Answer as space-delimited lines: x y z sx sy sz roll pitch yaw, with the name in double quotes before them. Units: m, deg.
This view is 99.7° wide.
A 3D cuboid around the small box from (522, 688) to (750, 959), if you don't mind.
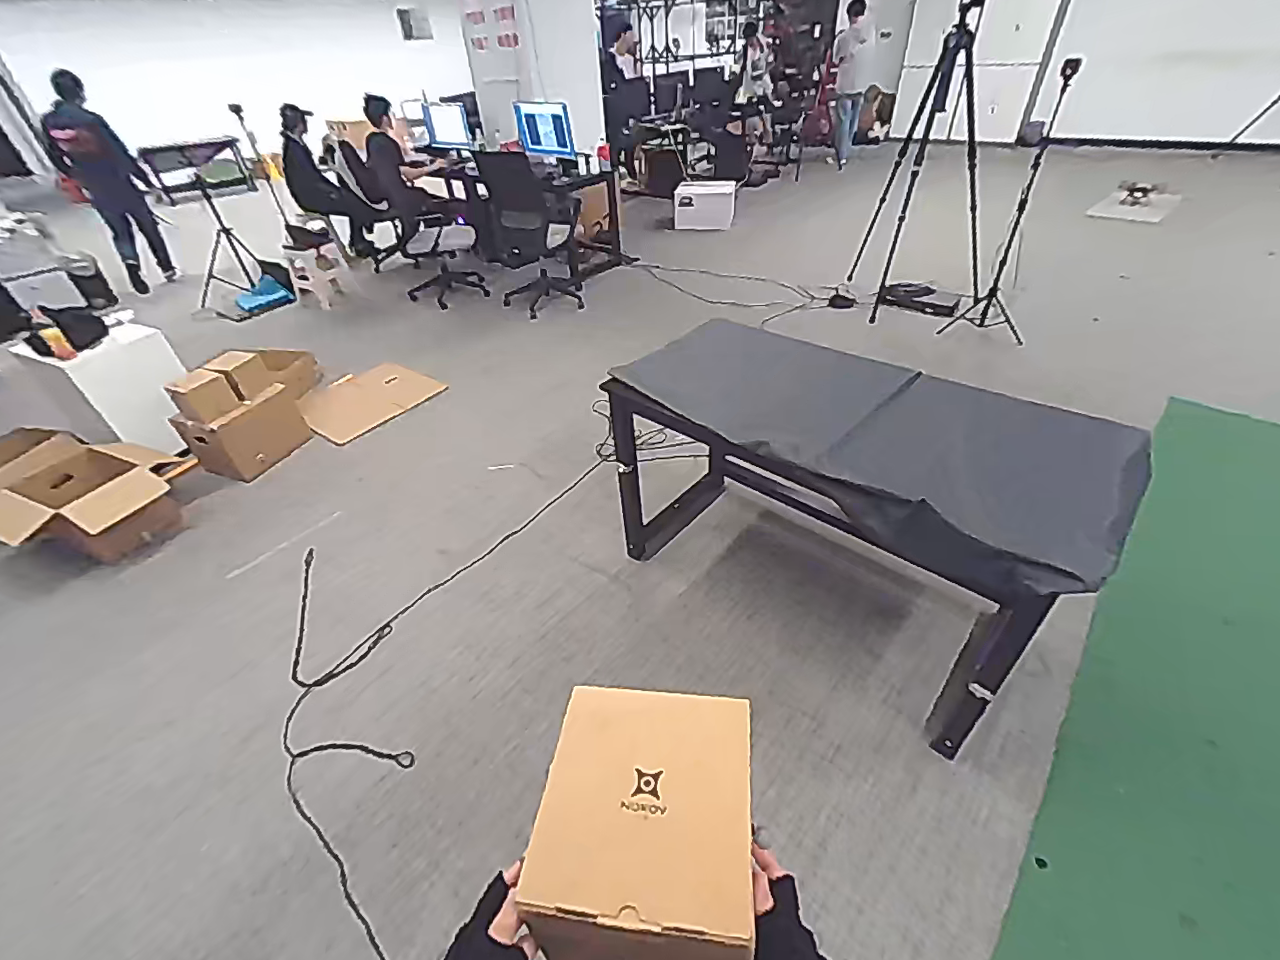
"small box" 0.012 0.320 0.489 0.168 0.176 0.179 2 37 10
